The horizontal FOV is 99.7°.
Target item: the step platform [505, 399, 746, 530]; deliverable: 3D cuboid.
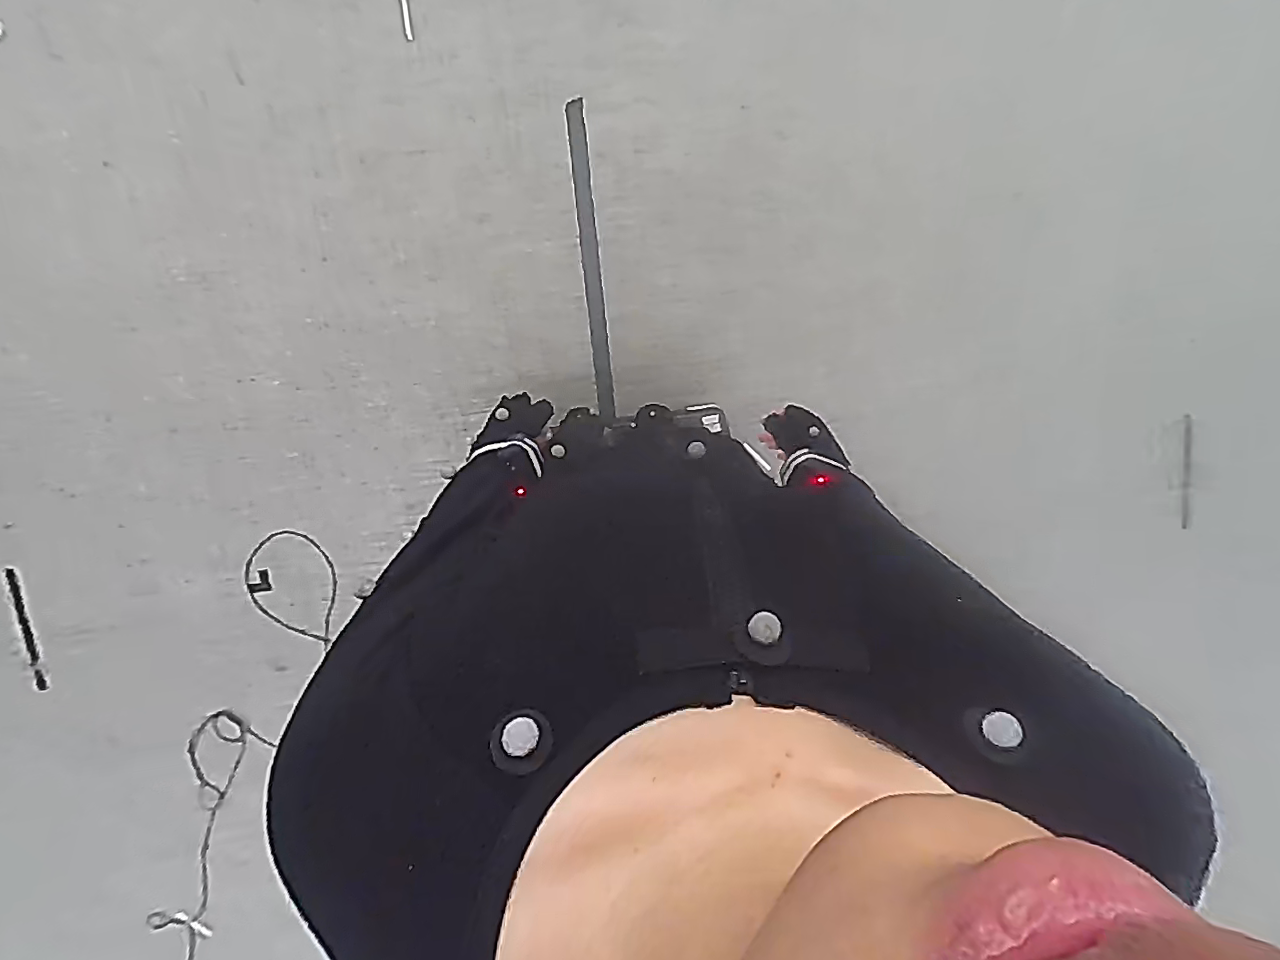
[{"bbox_3d":[-0.040,-0.049,1.569,0.684,0.204,0.286,-9,100,-2],"label":"step platform"}]
